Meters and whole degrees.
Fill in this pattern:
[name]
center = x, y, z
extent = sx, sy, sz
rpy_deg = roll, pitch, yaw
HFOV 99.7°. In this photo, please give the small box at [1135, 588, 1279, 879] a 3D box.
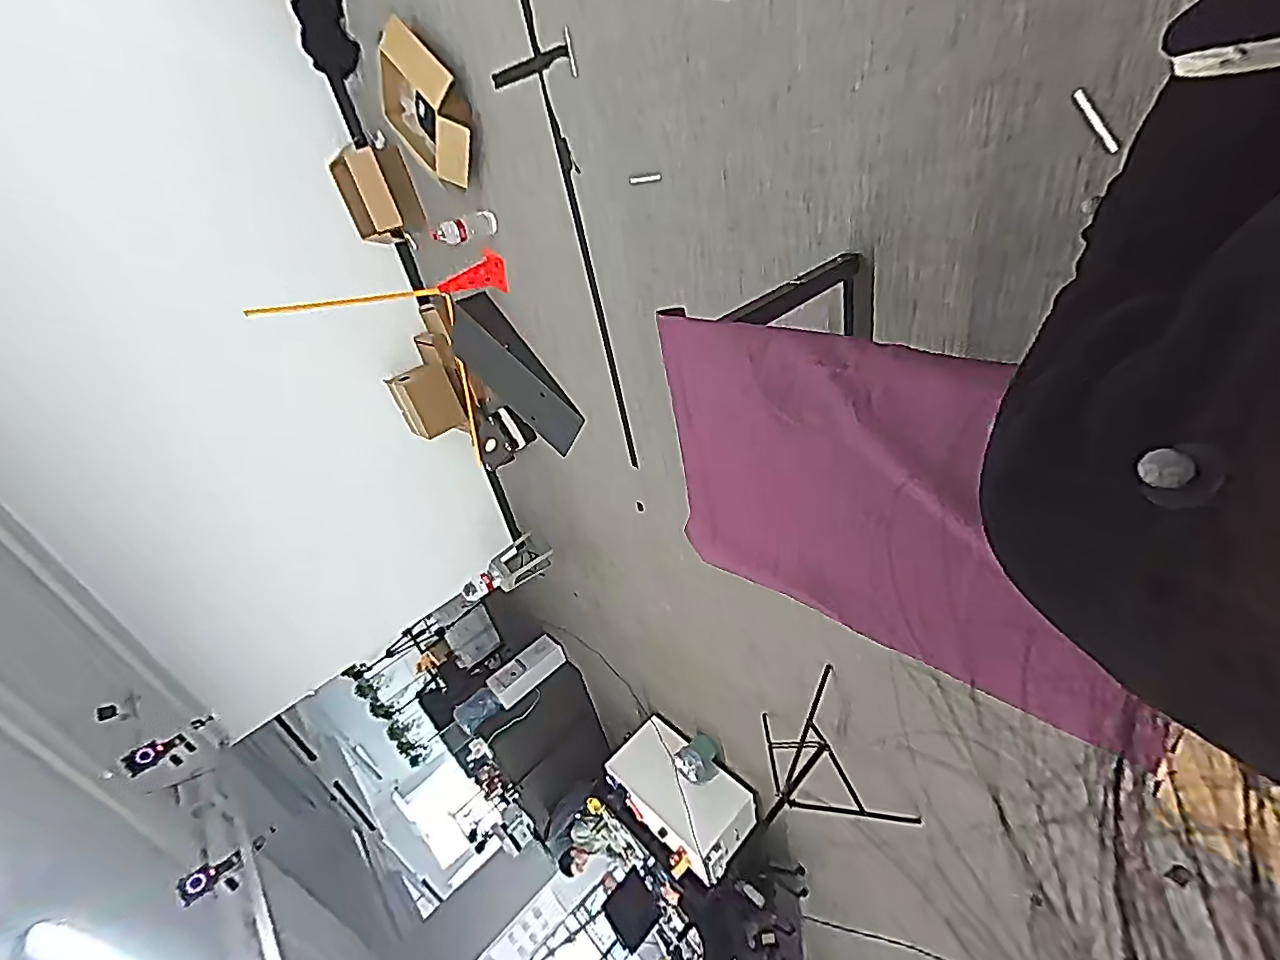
[small box]
center = 0.560, 0.217, 0.448
extent = 0.179, 0.176, 0.168
rpy_deg = 17, 135, 45
